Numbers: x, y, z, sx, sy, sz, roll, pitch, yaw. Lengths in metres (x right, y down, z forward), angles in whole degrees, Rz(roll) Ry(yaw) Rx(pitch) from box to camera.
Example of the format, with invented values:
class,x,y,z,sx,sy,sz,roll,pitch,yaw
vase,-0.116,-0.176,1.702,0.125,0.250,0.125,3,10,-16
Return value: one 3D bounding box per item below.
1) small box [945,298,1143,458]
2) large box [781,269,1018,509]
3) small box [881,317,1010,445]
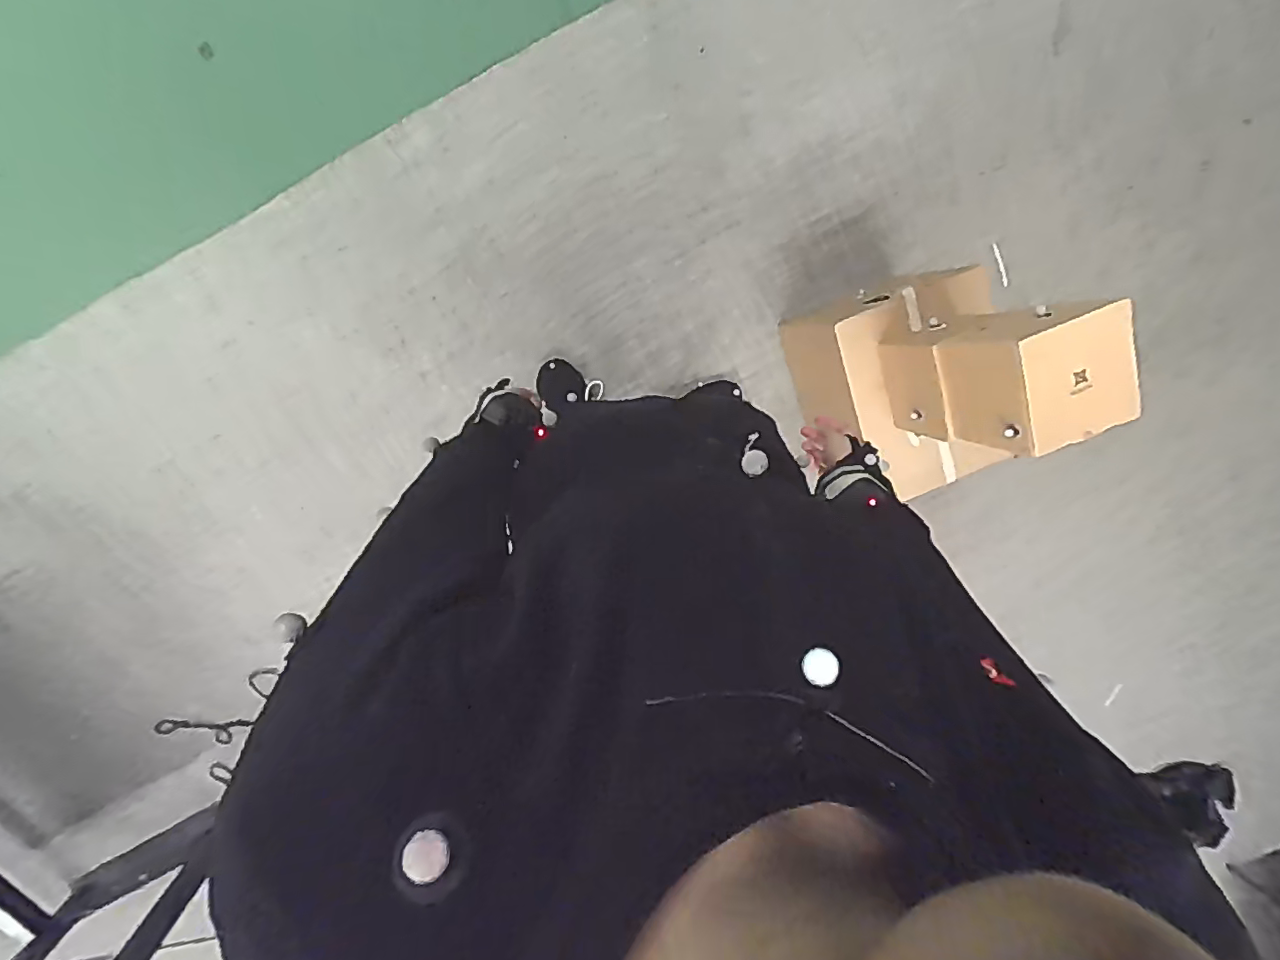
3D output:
class,x,y,z,sx,sy,sz,roll,pitch,yaw
small box,0.595,-0.155,0.816,0.168,0.176,0.179,-22,106,-1
large box,0.563,-0.210,1.219,0.320,0.320,0.408,-22,107,1
small box,0.567,-0.184,0.974,0.168,0.176,0.179,-22,105,-1
